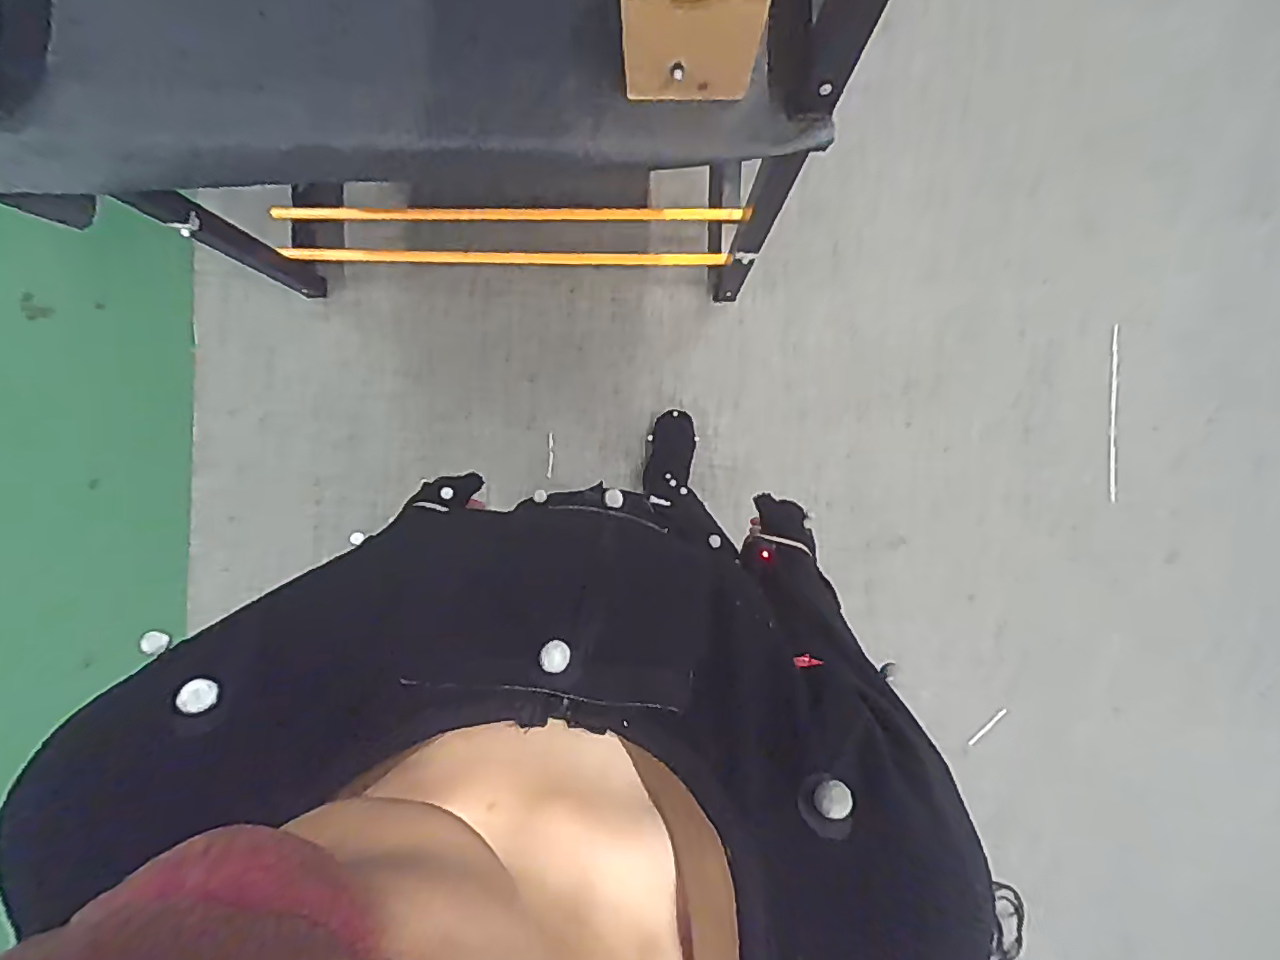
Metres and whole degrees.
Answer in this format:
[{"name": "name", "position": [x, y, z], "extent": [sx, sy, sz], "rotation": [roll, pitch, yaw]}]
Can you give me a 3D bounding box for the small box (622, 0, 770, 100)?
[{"name": "small box", "position": [0.063, -0.608, 0.658], "extent": [0.168, 0.176, 0.179], "rotation": [1, 90, 1]}]
